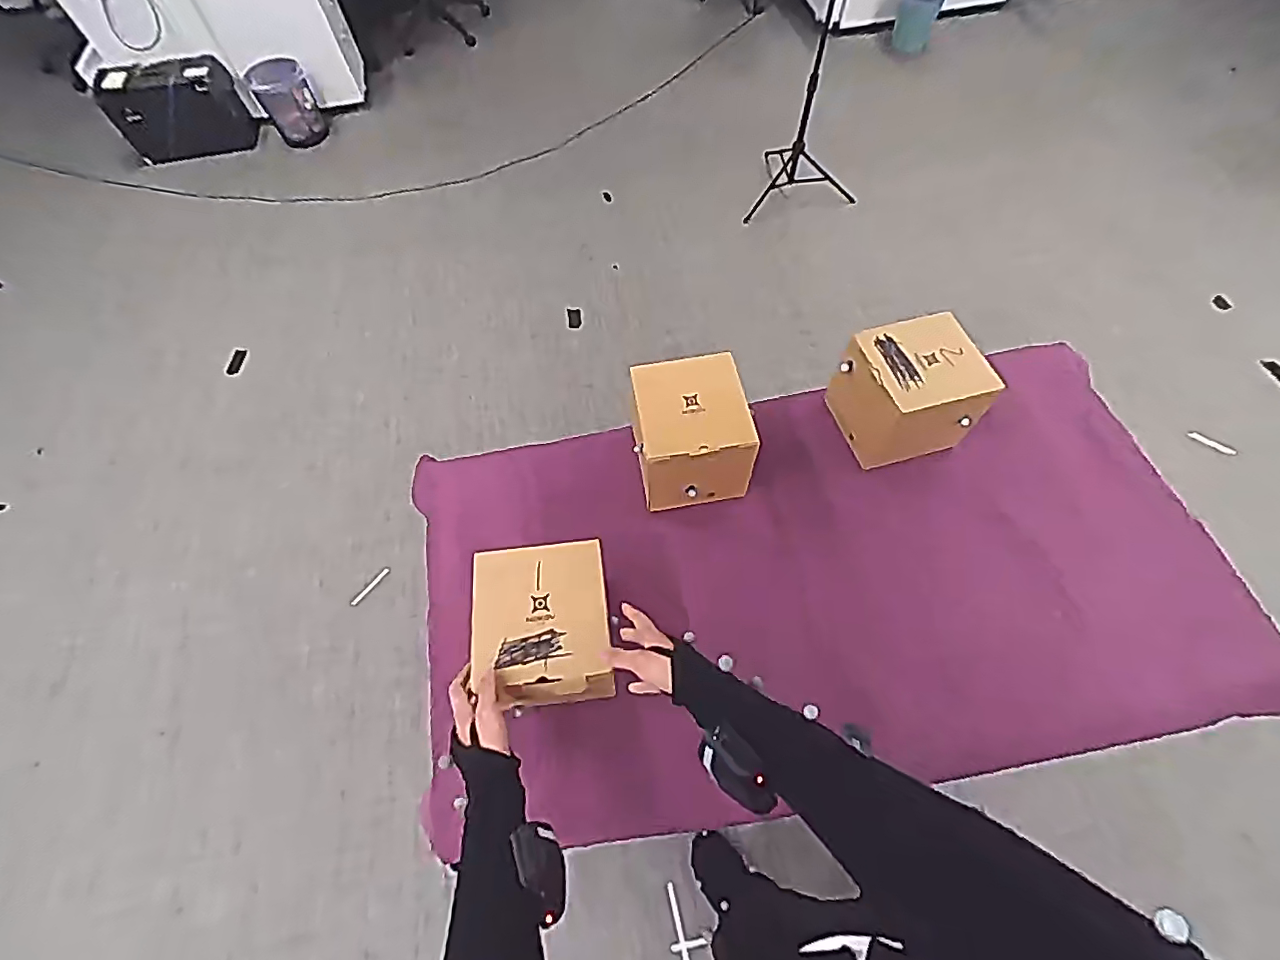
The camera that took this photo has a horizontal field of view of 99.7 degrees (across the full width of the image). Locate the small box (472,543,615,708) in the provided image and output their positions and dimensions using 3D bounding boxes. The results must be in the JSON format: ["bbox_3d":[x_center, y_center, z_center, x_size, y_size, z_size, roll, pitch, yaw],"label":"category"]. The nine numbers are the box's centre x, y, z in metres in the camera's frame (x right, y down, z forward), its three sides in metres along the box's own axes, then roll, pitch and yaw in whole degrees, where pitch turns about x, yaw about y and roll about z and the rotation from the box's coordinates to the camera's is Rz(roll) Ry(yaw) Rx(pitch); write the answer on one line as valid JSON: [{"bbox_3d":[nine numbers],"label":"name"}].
[{"bbox_3d":[-0.125,0.205,0.736,0.168,0.176,0.179,-7,60,-5],"label":"small box"}]

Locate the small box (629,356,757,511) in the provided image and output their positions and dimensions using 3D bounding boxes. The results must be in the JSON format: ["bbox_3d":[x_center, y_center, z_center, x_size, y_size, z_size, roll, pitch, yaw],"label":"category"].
[{"bbox_3d":[0.076,-0.072,0.881,0.168,0.176,0.179,-9,62,-3],"label":"small box"}]
